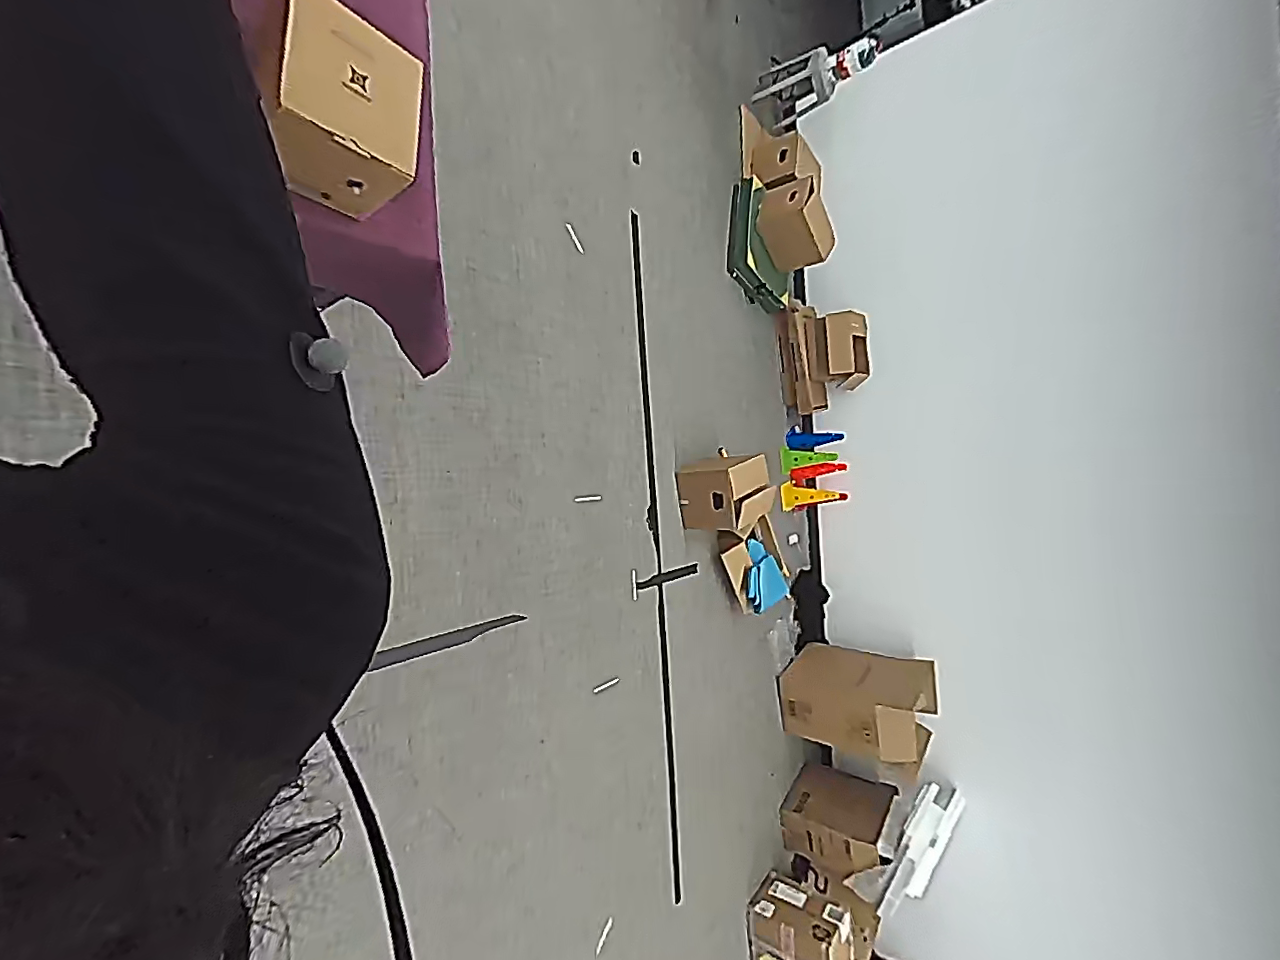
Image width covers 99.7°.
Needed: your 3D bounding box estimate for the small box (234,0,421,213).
[{"bbox_3d":[-0.422,-0.499,0.731,0.168,0.176,0.179,9,79,-52],"label":"small box"}]
